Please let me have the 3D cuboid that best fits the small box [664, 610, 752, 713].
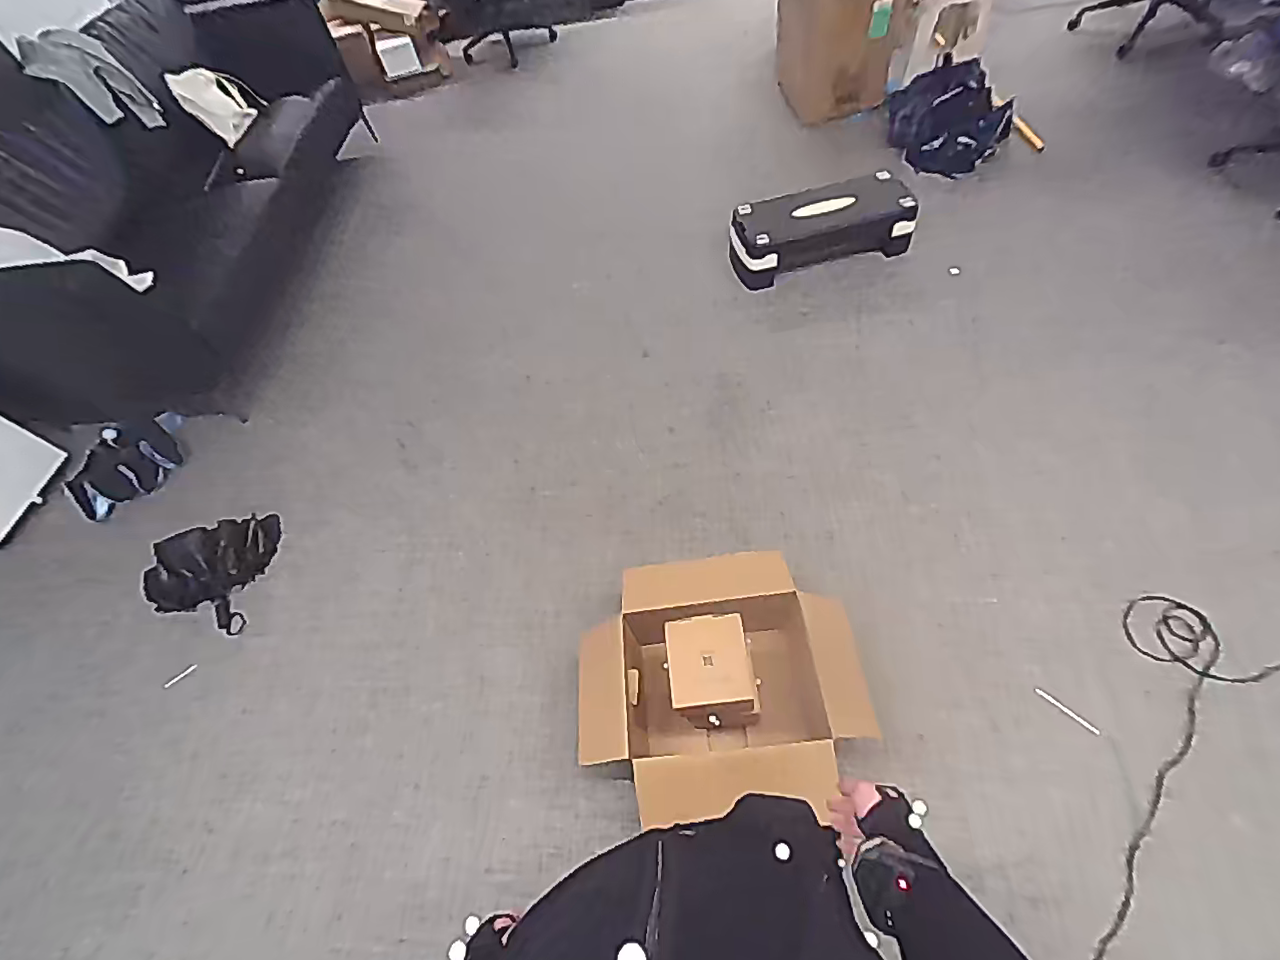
[{"bbox_3d":[0.148,0.400,1.182,0.168,0.176,0.179,-9,60,6],"label":"small box"}]
